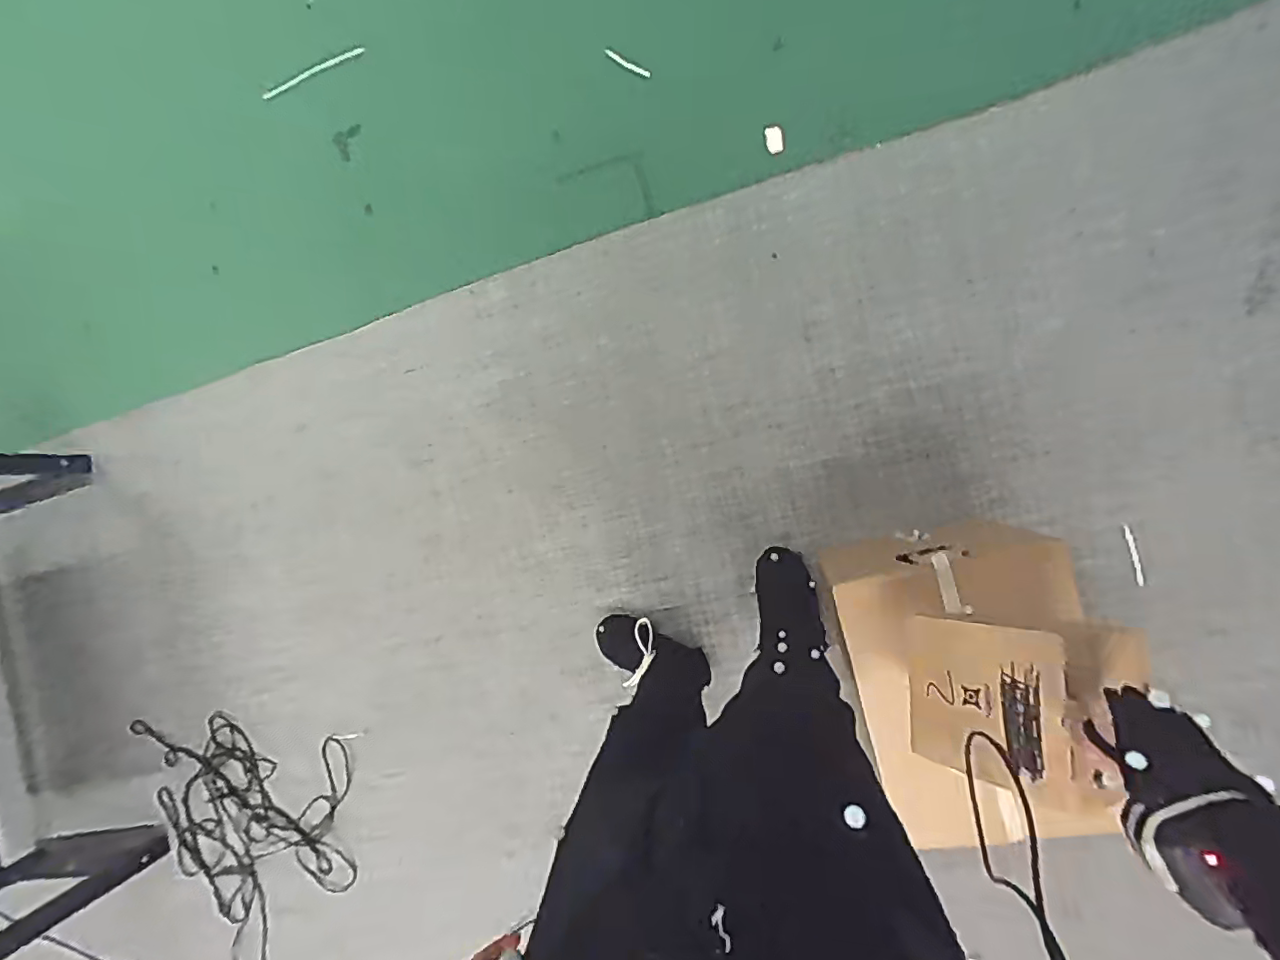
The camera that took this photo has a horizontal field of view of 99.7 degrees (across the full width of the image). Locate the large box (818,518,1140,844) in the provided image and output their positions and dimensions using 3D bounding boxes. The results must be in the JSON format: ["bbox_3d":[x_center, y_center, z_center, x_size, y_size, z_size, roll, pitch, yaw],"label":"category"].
[{"bbox_3d":[0.518,0.305,0.915,0.320,0.320,0.408,-14,89,14],"label":"large box"}]
